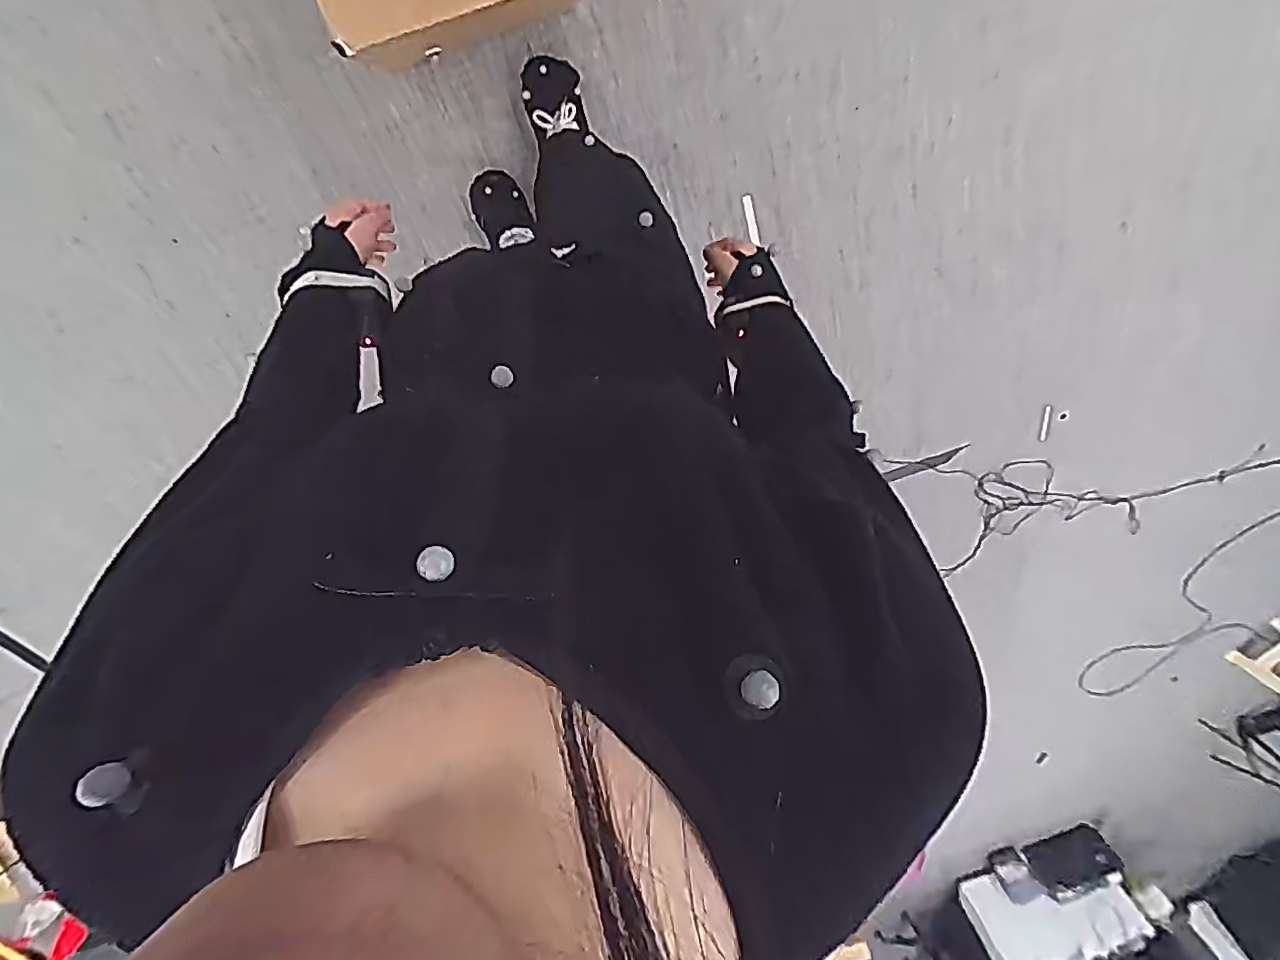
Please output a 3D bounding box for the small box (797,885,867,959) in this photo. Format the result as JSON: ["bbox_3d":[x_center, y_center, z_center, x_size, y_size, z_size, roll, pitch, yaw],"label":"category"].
[{"bbox_3d":[0.646,1.509,1.829,0.168,0.176,0.179,-19,122,2],"label":"small box"}]

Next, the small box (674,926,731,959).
[{"bbox_3d":[0.227,1.667,1.848,0.168,0.176,0.179,-20,123,1],"label":"small box"}]
